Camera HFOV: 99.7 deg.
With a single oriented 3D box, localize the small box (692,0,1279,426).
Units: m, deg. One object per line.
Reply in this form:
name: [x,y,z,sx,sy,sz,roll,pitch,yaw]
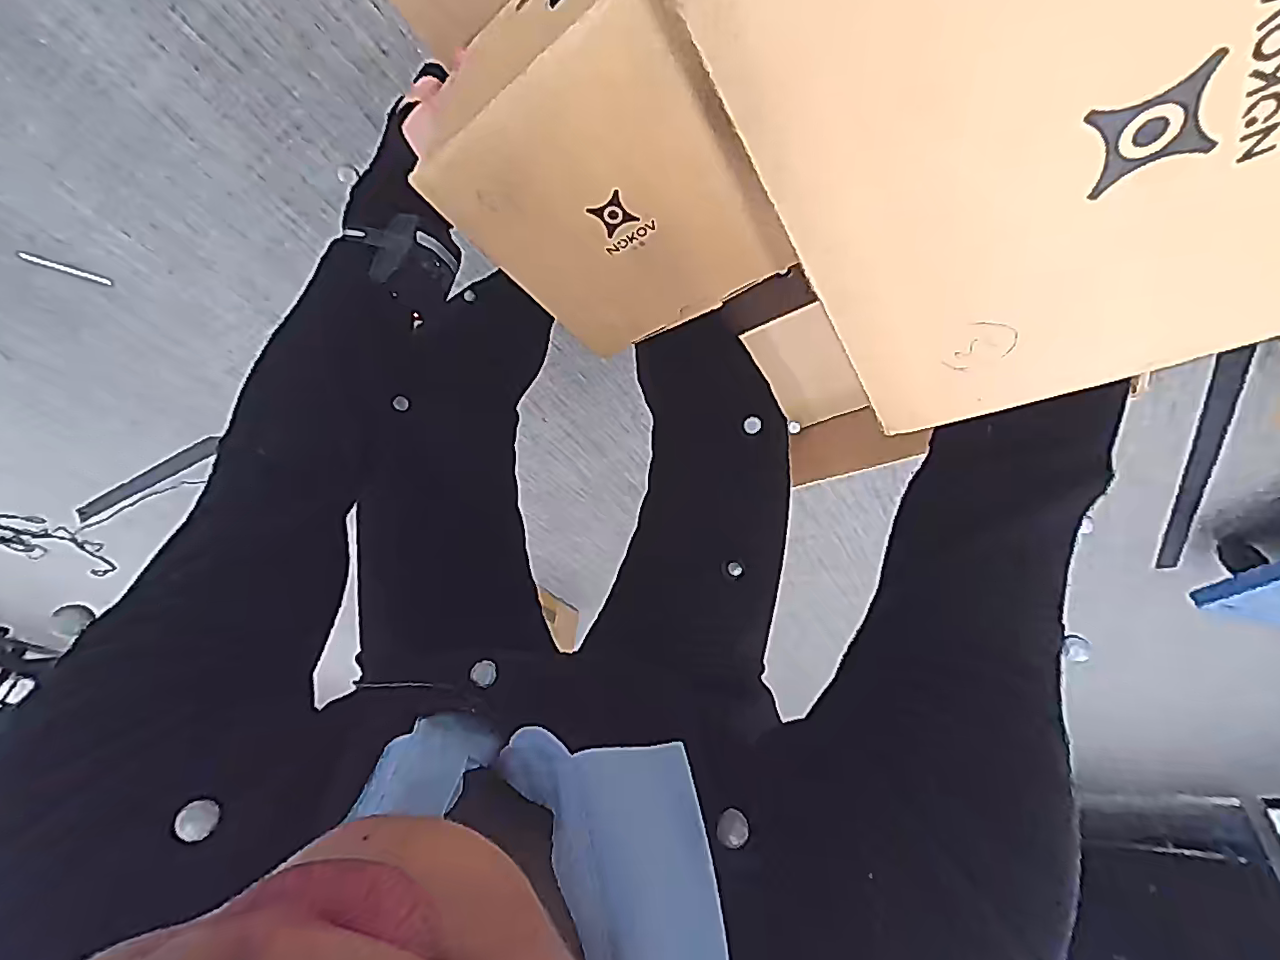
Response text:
small box: [0.131,-0.149,0.157,0.179,0.176,0.168,-17,139,31]
